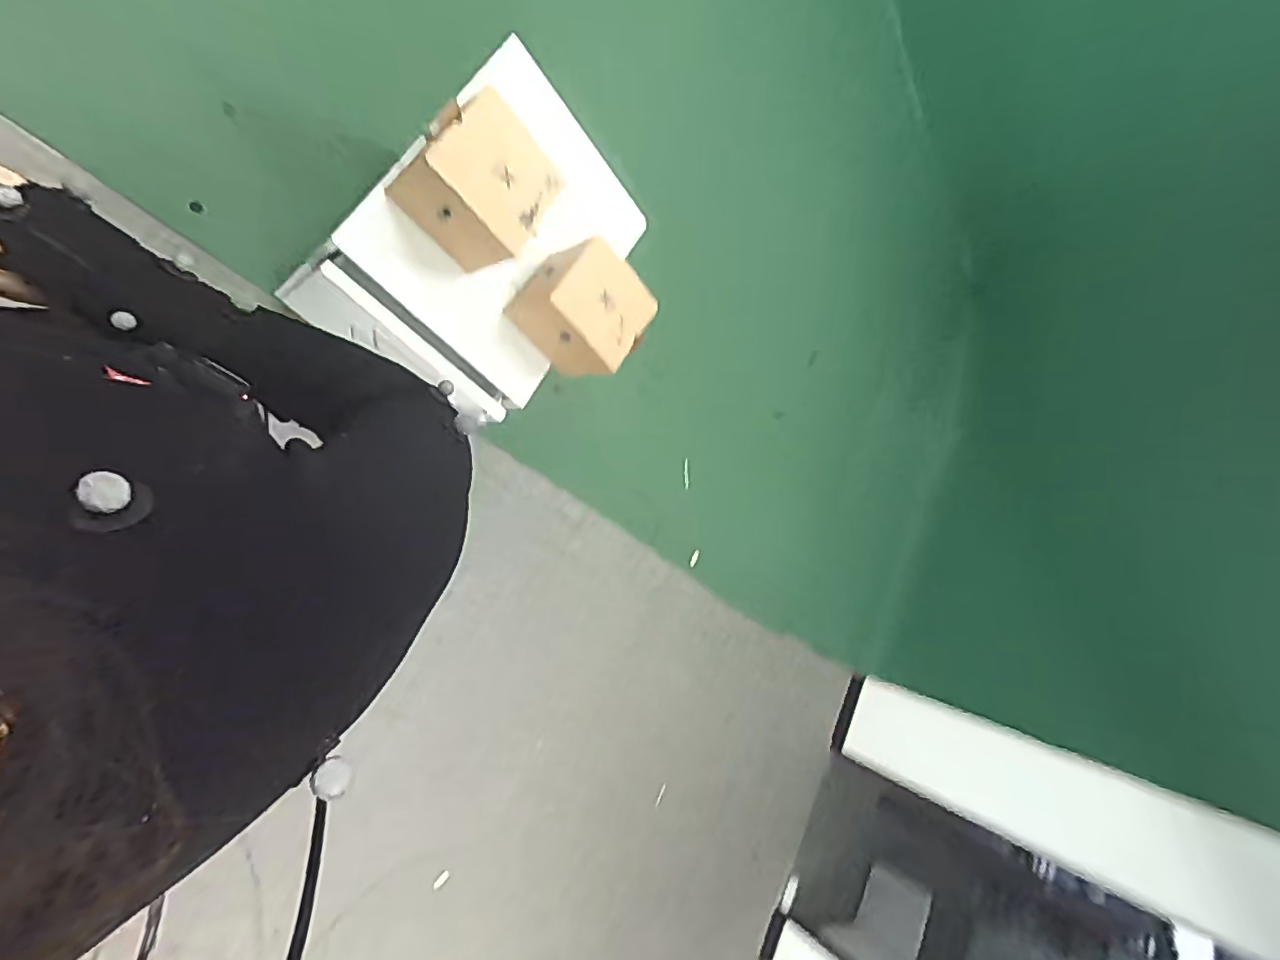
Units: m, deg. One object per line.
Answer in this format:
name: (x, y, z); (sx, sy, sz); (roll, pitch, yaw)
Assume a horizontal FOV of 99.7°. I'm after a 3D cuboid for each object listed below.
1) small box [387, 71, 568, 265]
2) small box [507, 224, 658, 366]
small box: (-0.253, -0.462, 0.833); (0.179, 0.176, 0.168); (41, 70, -38)
small box: (-0.108, -0.321, 0.981); (0.179, 0.176, 0.168); (44, 68, -37)
